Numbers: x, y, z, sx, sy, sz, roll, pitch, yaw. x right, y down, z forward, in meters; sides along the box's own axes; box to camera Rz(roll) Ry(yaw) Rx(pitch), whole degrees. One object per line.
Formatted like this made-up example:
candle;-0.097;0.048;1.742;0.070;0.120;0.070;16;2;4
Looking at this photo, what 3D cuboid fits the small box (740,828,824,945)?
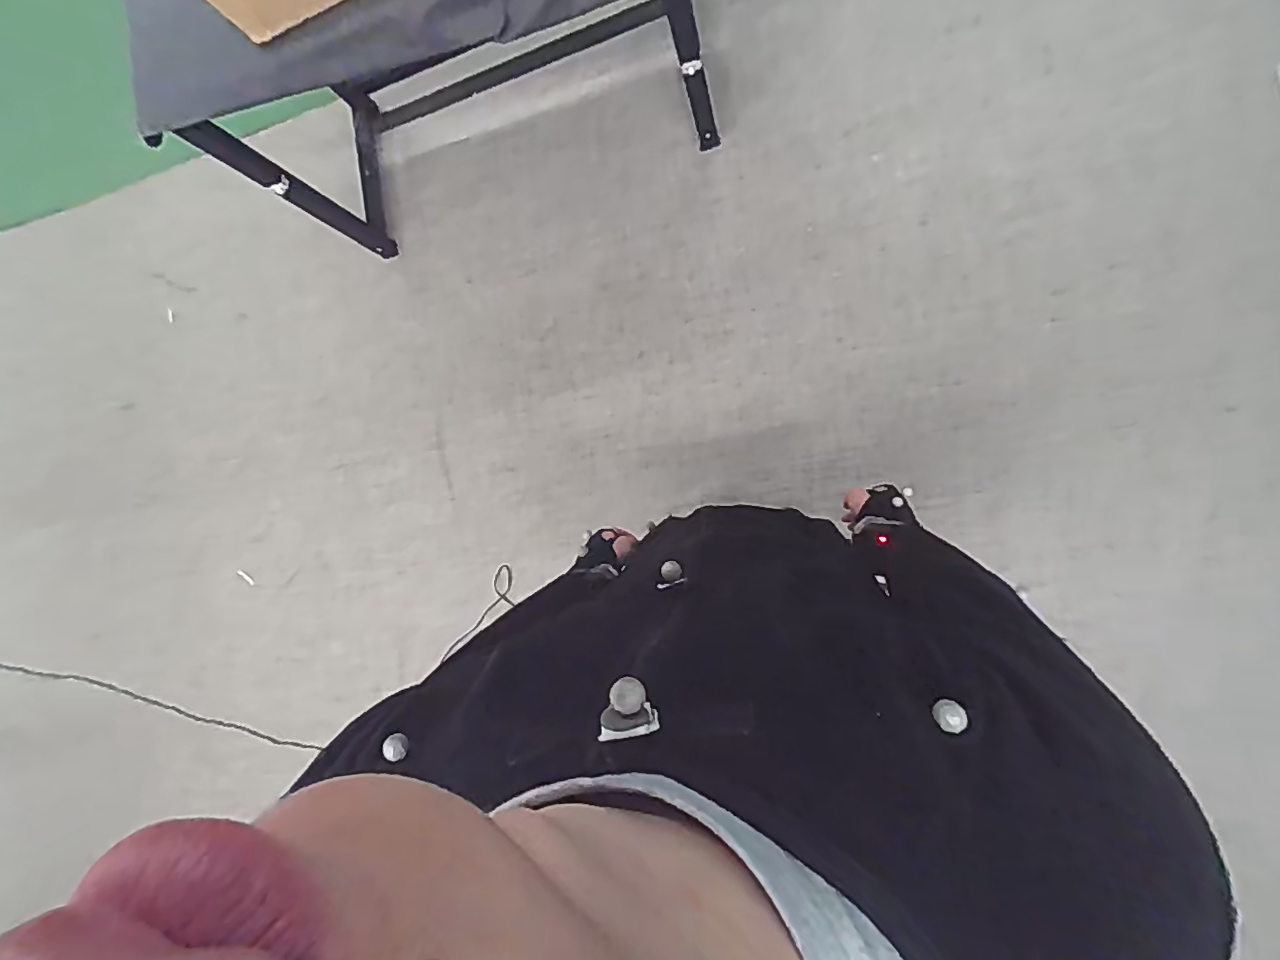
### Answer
small box;0.362;1.033;1.383;0.168;0.176;0.179;-16;83;13
